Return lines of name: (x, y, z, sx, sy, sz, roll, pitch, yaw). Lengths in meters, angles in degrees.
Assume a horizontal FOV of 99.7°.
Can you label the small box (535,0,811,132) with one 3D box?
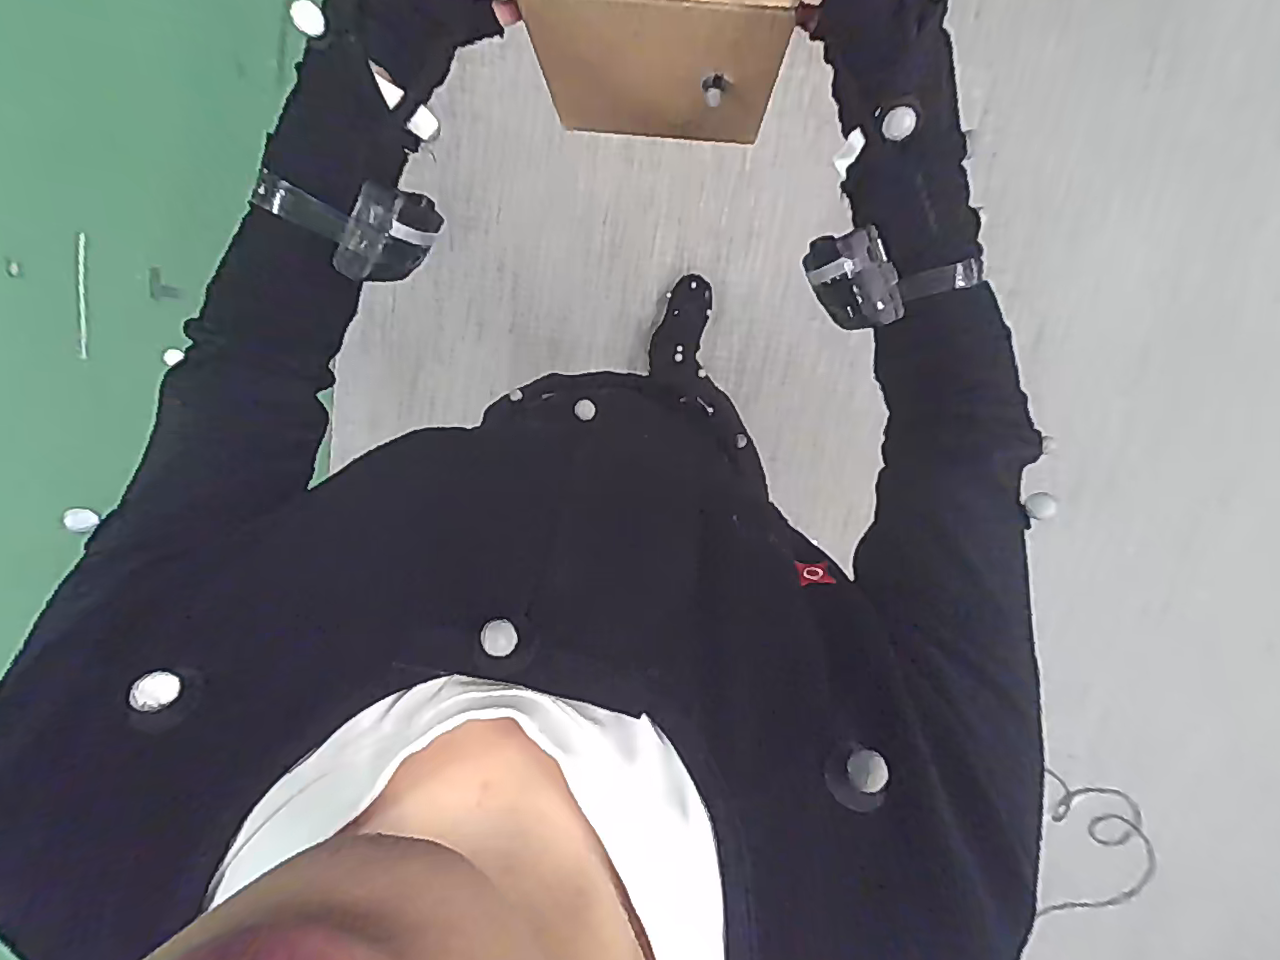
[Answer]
small box: (0.027, -0.384, 0.395, 0.179, 0.176, 0.168, 5, 96, 3)
